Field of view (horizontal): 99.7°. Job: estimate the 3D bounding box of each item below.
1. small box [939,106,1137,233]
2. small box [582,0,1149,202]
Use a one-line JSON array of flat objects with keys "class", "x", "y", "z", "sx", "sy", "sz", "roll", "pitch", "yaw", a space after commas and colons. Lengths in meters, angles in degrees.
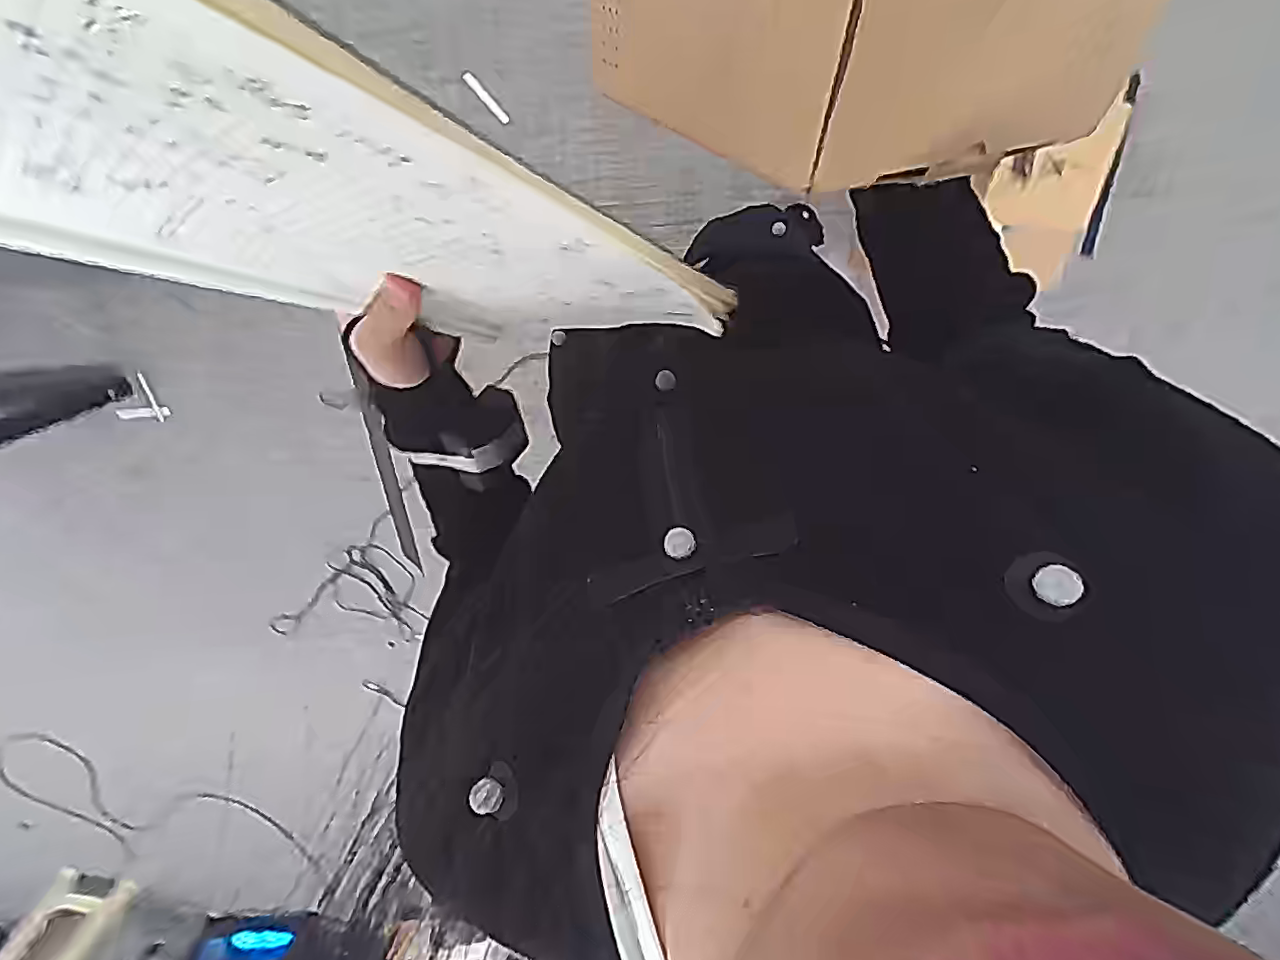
[{"class": "small box", "x": 0.629, "y": -0.503, "z": 0.885, "sx": 0.179, "sy": 0.176, "sz": 0.168, "roll": 4, "pitch": 118, "yaw": -1}, {"class": "small box", "x": 0.082, "y": -0.233, "z": 0.197, "sx": 0.168, "sy": 0.176, "sz": 0.179, "roll": -23, "pitch": 141, "yaw": -20}]
